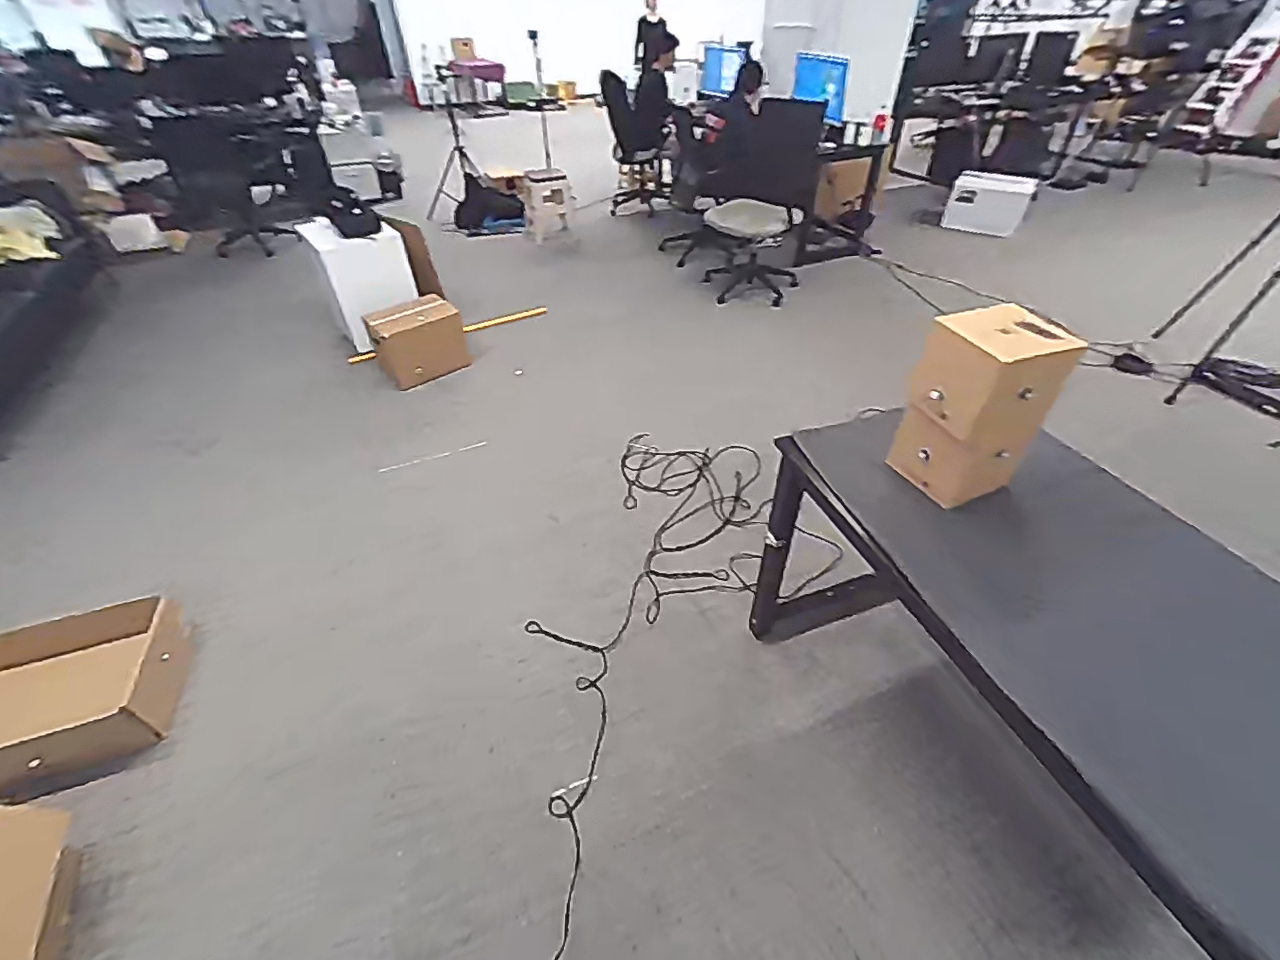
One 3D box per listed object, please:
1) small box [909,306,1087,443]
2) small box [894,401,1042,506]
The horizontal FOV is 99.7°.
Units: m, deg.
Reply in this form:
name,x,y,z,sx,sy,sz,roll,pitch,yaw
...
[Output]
name,x,y,z,sx,sy,sz,roll,pitch,yaw
small box,0.626,-0.190,0.972,0.179,0.176,0.168,-13,44,-12
small box,0.642,-0.072,1.087,0.179,0.176,0.168,-18,45,-19
